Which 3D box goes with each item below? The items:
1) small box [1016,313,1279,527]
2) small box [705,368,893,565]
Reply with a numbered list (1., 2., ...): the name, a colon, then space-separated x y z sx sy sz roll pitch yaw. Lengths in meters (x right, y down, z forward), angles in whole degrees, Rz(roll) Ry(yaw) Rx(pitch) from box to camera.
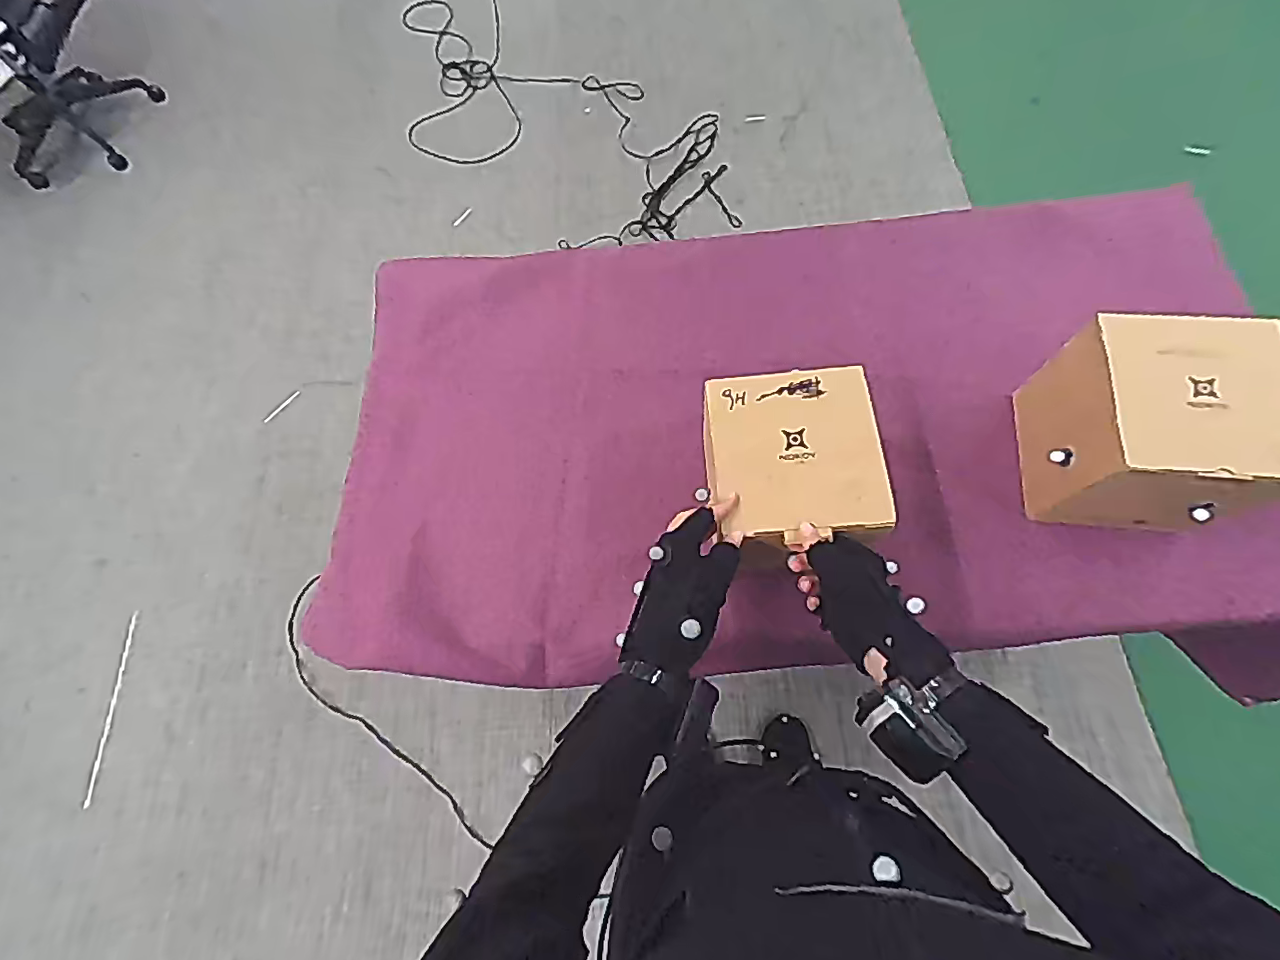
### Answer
1. small box: 0.544 -0.056 0.588 0.168 0.176 0.179 5 70 9
2. small box: 0.163 -0.003 0.614 0.168 0.176 0.179 -5 69 5
